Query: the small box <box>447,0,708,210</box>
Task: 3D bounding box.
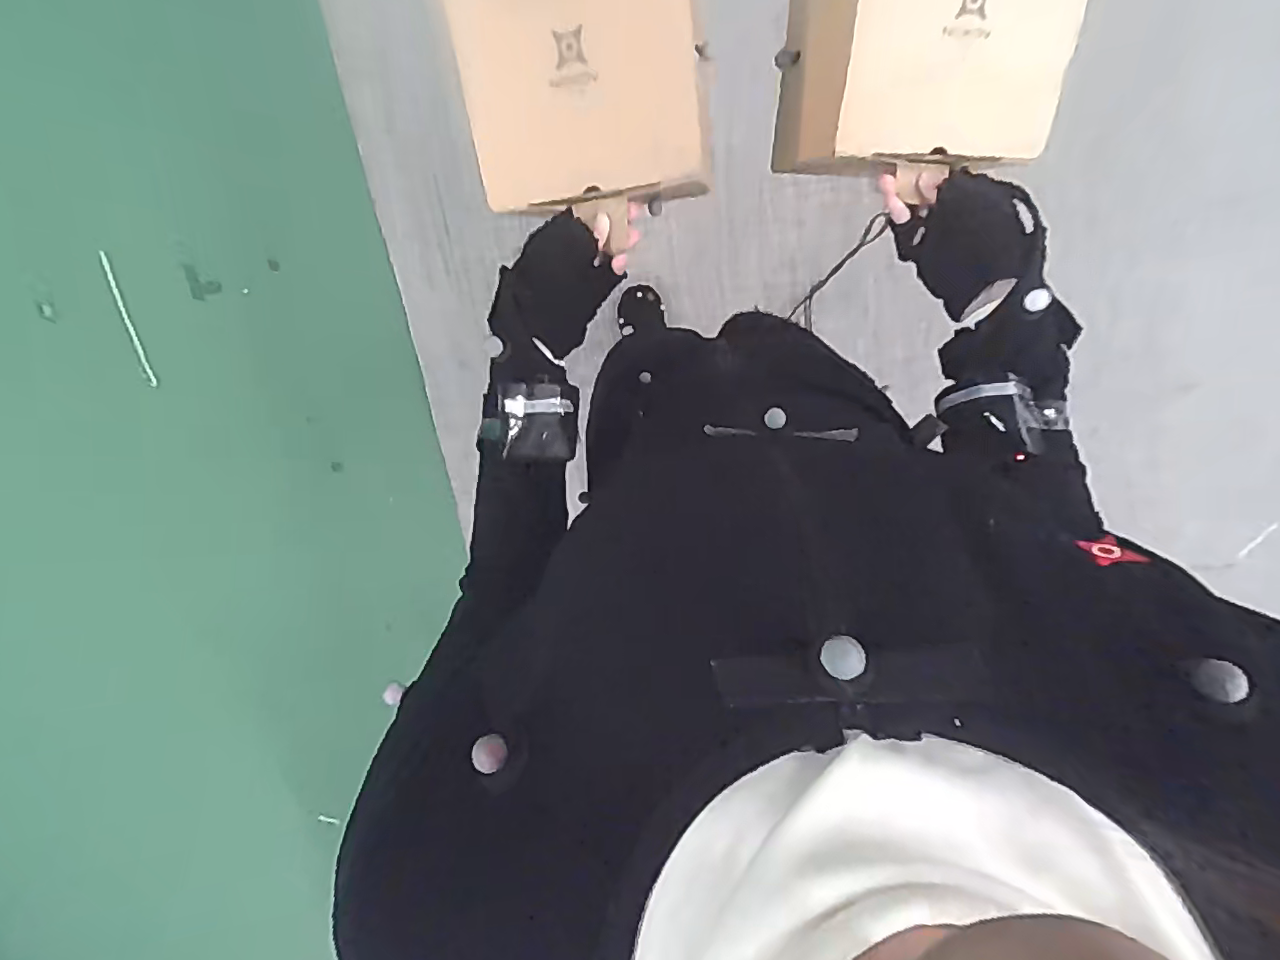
[{"bbox_3d":[-0.034,-0.327,0.442,0.168,0.176,0.179,-5,112,10],"label":"small box"}]
